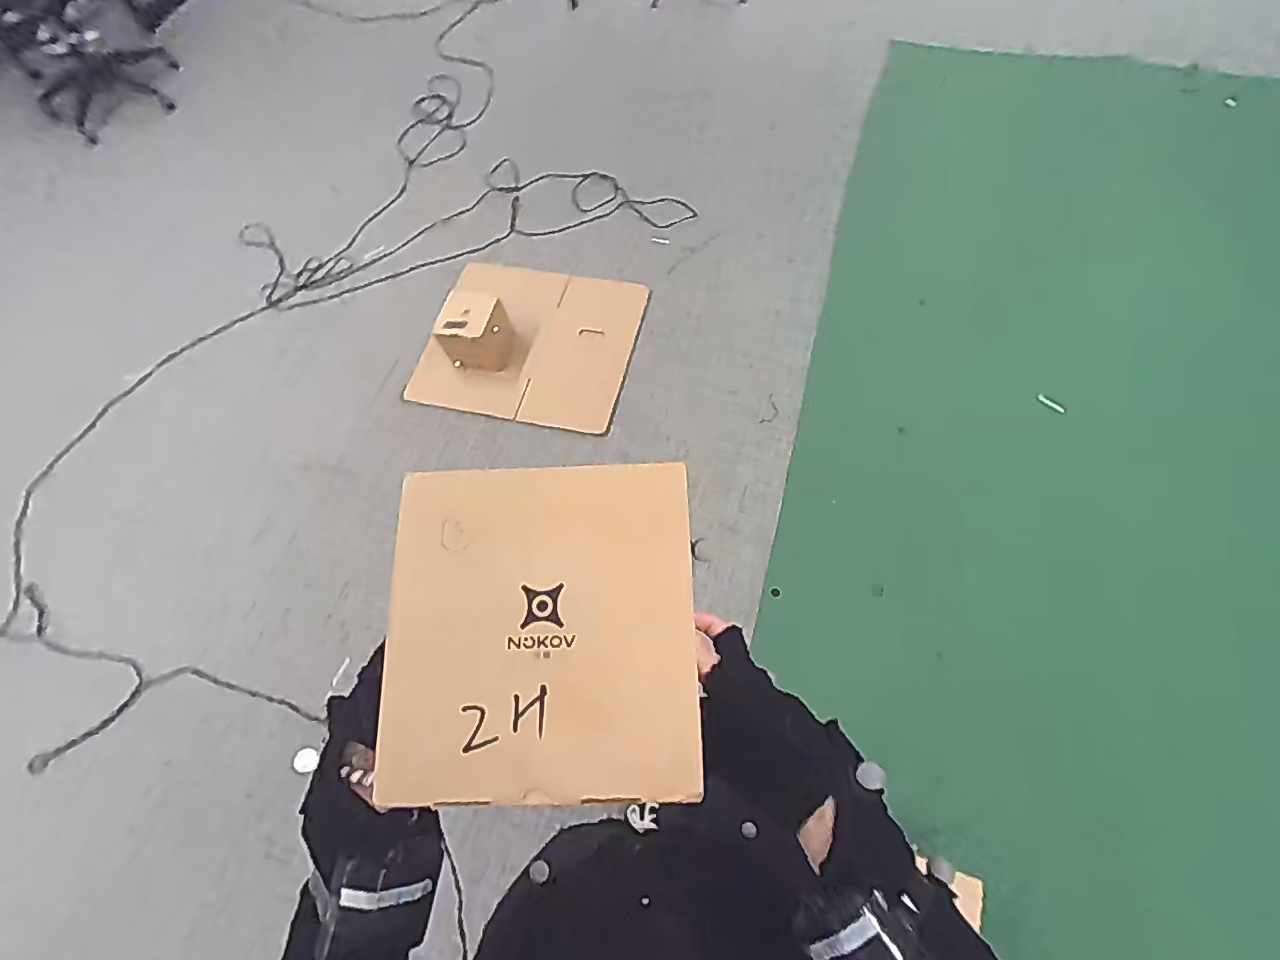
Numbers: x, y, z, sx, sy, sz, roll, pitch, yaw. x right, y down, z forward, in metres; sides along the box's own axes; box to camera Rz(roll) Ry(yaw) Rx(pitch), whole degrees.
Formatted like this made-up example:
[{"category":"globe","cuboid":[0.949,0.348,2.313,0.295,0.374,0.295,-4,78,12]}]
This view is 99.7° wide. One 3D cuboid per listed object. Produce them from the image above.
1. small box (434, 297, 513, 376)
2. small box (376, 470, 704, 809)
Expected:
[{"category":"small box","cuboid":[-0.526,-0.456,1.739,0.168,0.176,0.179,10,65,10]},{"category":"small box","cuboid":[-0.049,0.103,0.367,0.168,0.176,0.179,-2,73,2]}]
